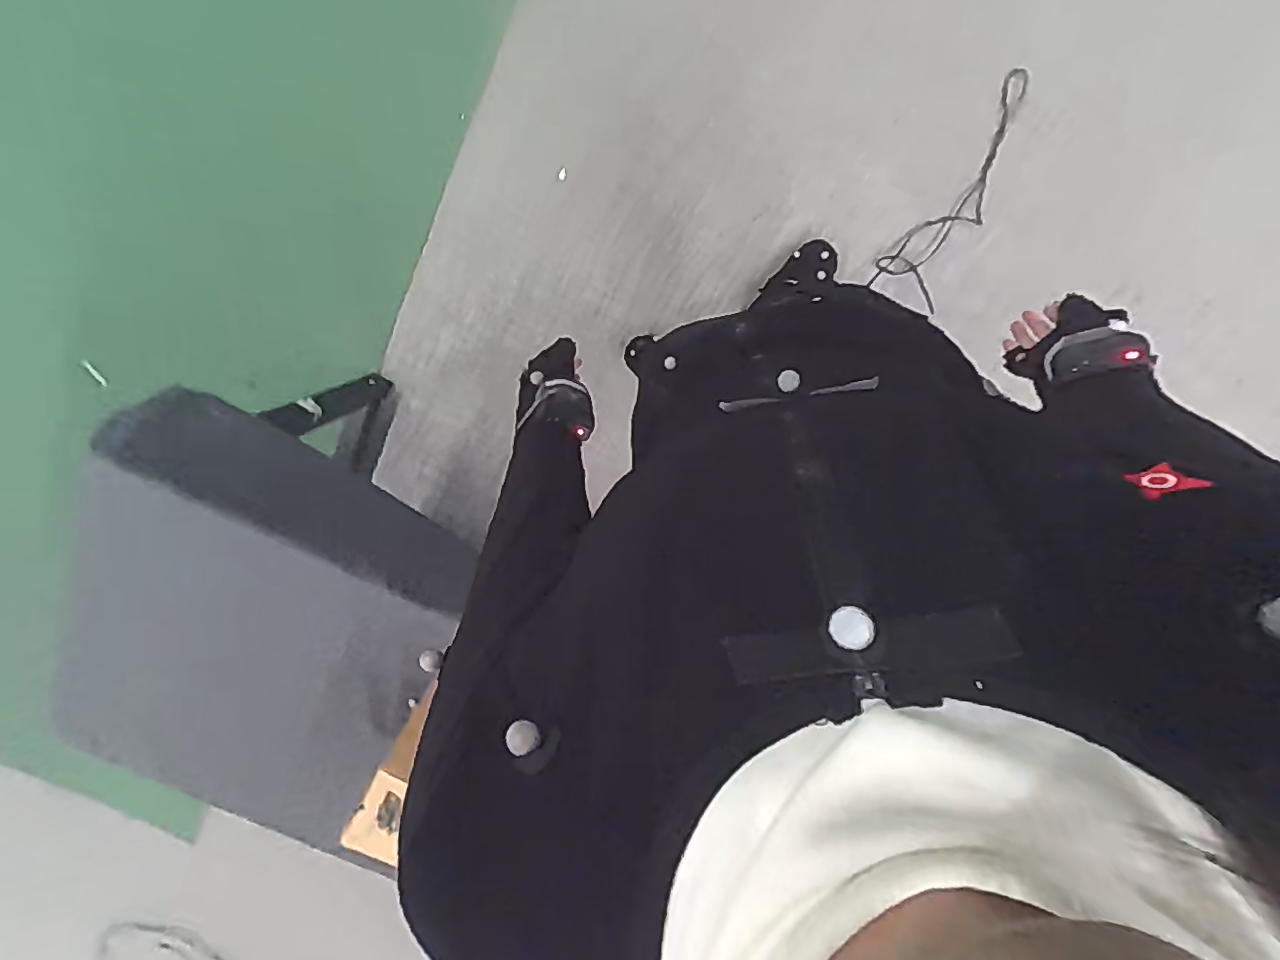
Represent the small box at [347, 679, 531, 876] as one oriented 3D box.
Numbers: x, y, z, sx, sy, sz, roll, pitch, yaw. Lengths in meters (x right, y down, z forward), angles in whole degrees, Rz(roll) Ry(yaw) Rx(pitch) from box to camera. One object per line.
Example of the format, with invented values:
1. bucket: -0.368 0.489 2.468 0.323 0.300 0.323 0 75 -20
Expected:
1. small box: -0.289 0.432 0.809 0.179 0.176 0.168 30 111 -8
